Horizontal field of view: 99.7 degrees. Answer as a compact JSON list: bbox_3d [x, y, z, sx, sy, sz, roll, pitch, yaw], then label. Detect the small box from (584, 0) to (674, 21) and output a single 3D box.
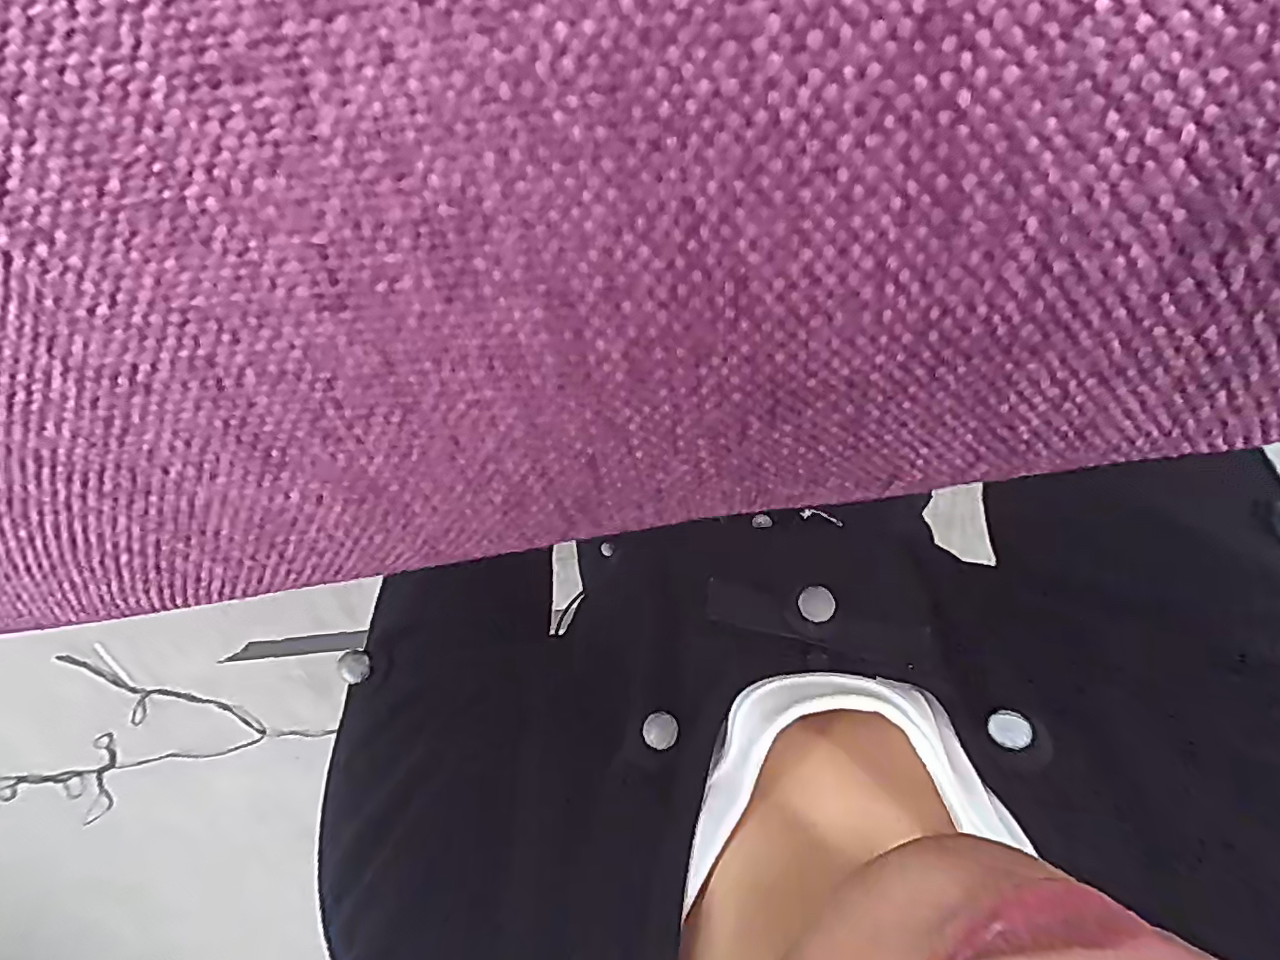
[{"bbox_3d":[0.006,-0.481,0.391,0.168,0.176,0.179,-10,118,9],"label":"small box"}]
